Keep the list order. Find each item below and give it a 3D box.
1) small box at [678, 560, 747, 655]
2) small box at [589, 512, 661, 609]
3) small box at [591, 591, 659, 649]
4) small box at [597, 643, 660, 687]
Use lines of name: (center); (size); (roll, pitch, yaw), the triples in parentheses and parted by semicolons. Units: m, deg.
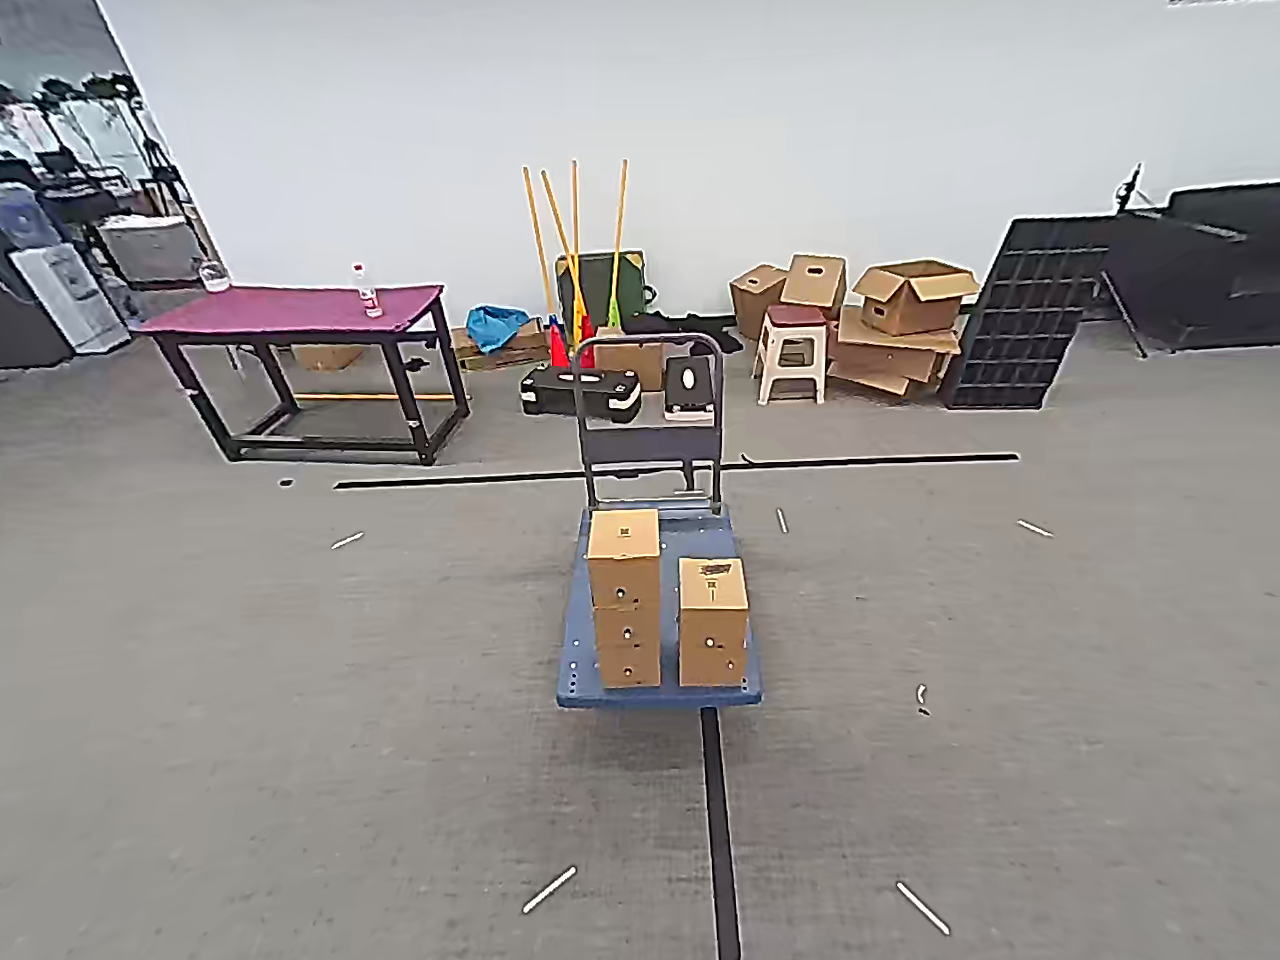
small box: (0.185, 0.332, 1.416); (0.168, 0.176, 0.179); (0, 36, 4)
small box: (-0.032, 0.198, 1.337); (0.168, 0.176, 0.179); (-1, 36, 1)
small box: (-0.036, 0.332, 1.429); (0.168, 0.176, 0.179); (-3, 36, -1)
small box: (-0.029, 0.465, 1.526); (0.168, 0.176, 0.179); (-1, 35, 1)
